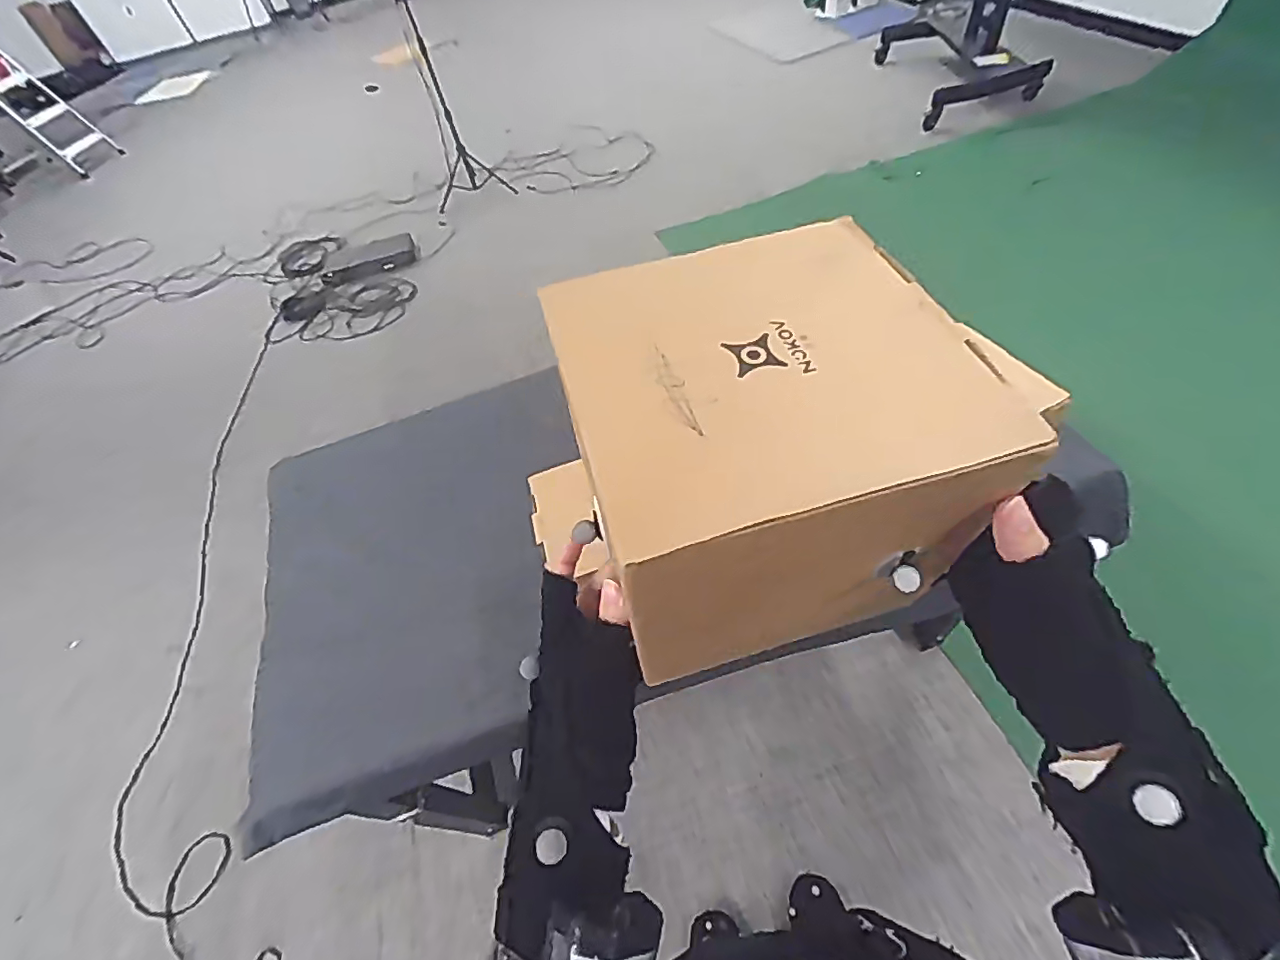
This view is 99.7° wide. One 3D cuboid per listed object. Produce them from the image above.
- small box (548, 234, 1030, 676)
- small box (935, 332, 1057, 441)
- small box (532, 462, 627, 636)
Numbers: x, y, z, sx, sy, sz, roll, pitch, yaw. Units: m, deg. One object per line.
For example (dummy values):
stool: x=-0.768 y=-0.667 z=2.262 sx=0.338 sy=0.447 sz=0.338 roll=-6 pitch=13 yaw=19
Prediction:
small box: x=0.059 y=-0.007 z=0.317 sx=0.179 sy=0.176 sz=0.168 roll=-16 pitch=55 yaw=-6
small box: x=0.407 y=-0.066 z=0.748 sx=0.168 sy=0.176 sz=0.179 roll=-24 pitch=52 yaw=-7
small box: x=-0.025 y=0.083 z=0.715 sx=0.179 sy=0.176 sz=0.168 roll=-17 pitch=52 yaw=-3
